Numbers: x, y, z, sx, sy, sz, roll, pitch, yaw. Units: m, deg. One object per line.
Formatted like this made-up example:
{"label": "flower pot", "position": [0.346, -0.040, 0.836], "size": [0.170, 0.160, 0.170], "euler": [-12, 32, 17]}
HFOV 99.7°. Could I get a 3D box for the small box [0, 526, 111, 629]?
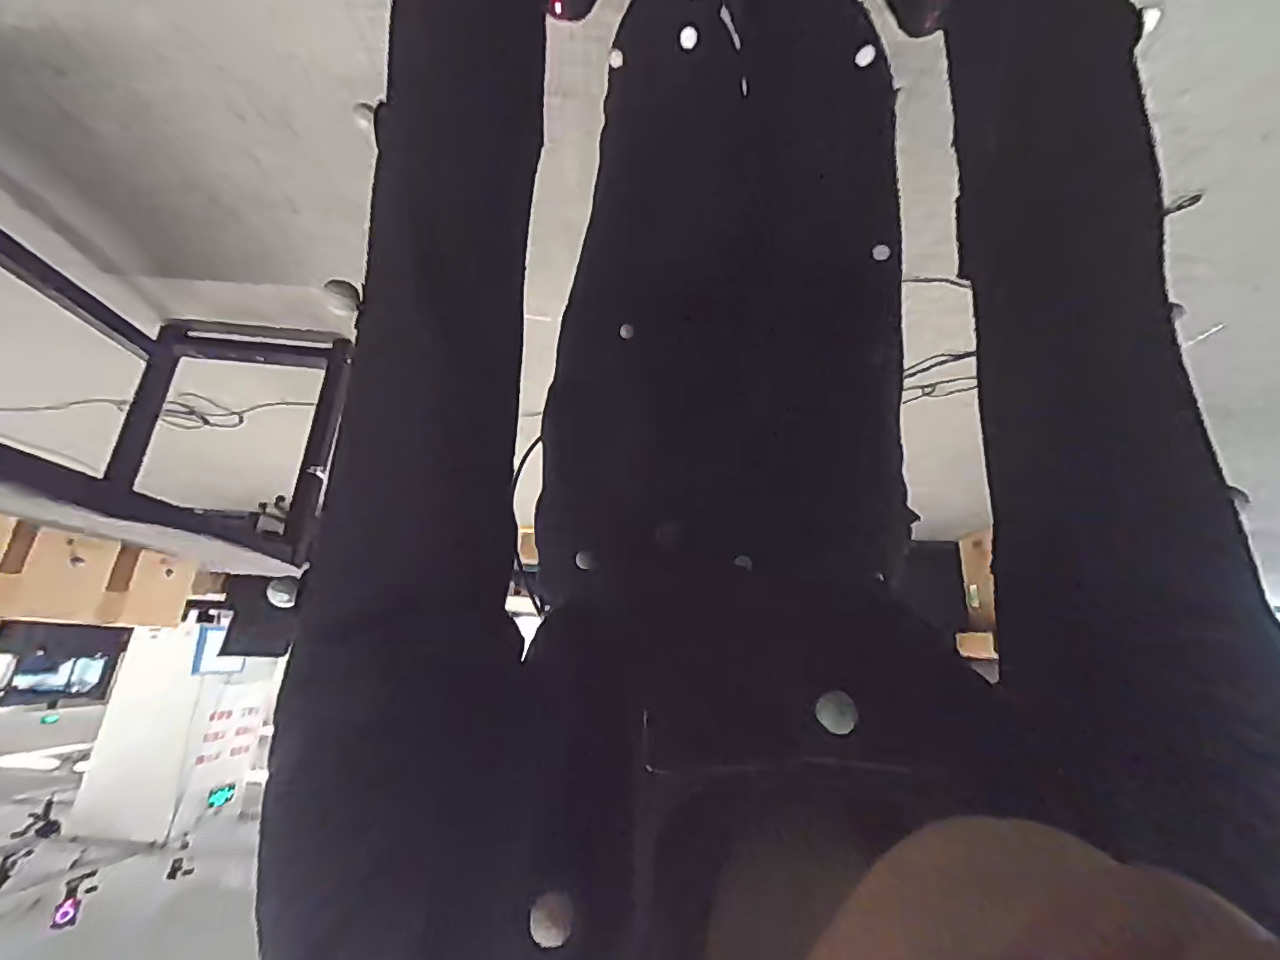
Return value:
{"label": "small box", "position": [-1.177, 0.183, 1.021], "size": [0.179, 0.176, 0.168], "euler": [3, 162, 1]}
